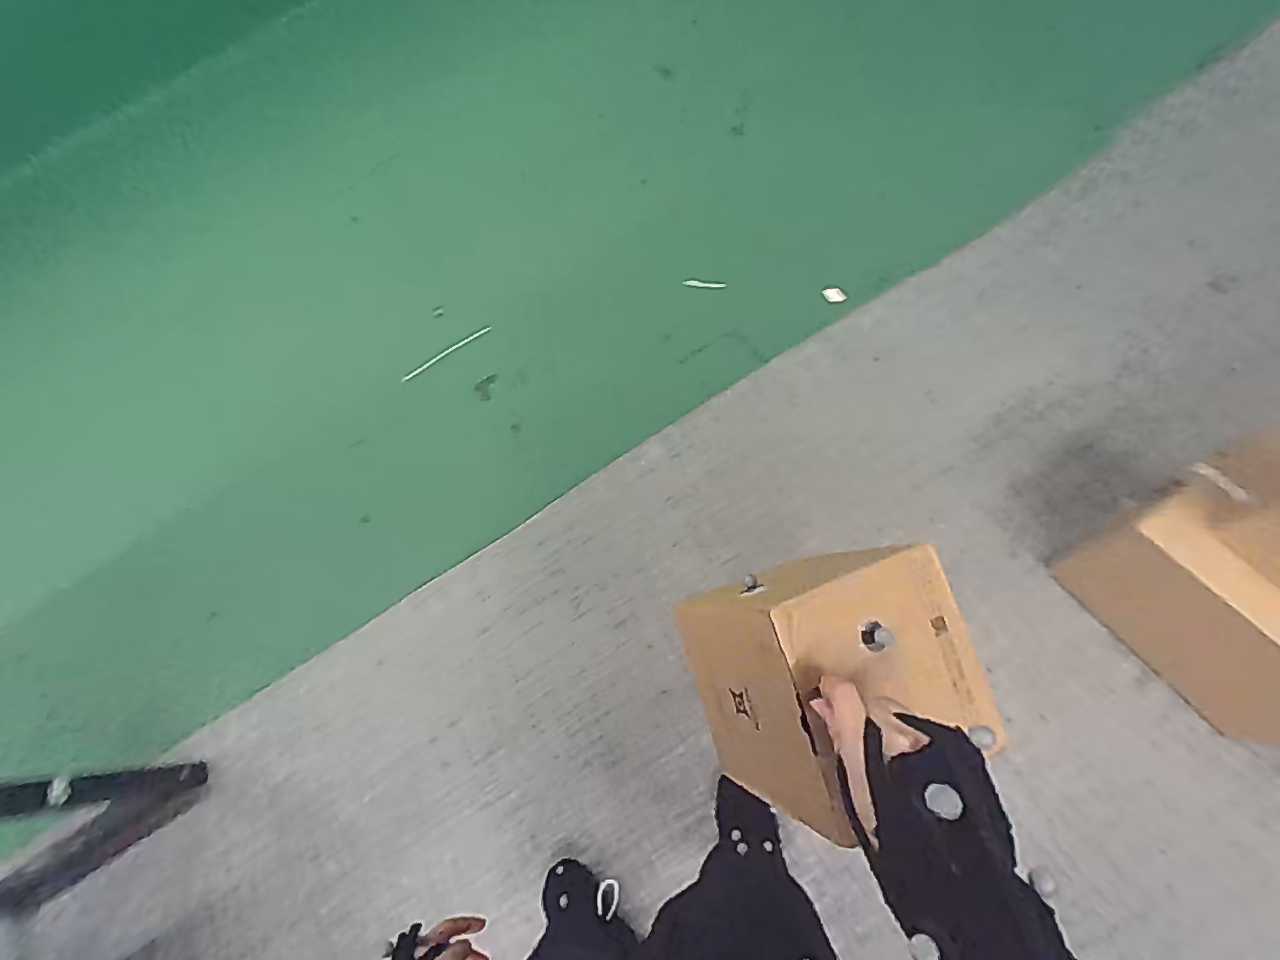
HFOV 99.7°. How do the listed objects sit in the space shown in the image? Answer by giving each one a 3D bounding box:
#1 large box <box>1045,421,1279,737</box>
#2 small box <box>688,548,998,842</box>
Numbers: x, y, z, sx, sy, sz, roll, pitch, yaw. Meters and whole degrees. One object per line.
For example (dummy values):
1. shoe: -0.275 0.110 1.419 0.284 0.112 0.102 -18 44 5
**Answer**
1. large box: 1.056 0.180 0.944 0.320 0.320 0.408 -36 66 -3
2. small box: 0.168 0.160 0.468 0.176 0.179 0.168 -12 83 -20
